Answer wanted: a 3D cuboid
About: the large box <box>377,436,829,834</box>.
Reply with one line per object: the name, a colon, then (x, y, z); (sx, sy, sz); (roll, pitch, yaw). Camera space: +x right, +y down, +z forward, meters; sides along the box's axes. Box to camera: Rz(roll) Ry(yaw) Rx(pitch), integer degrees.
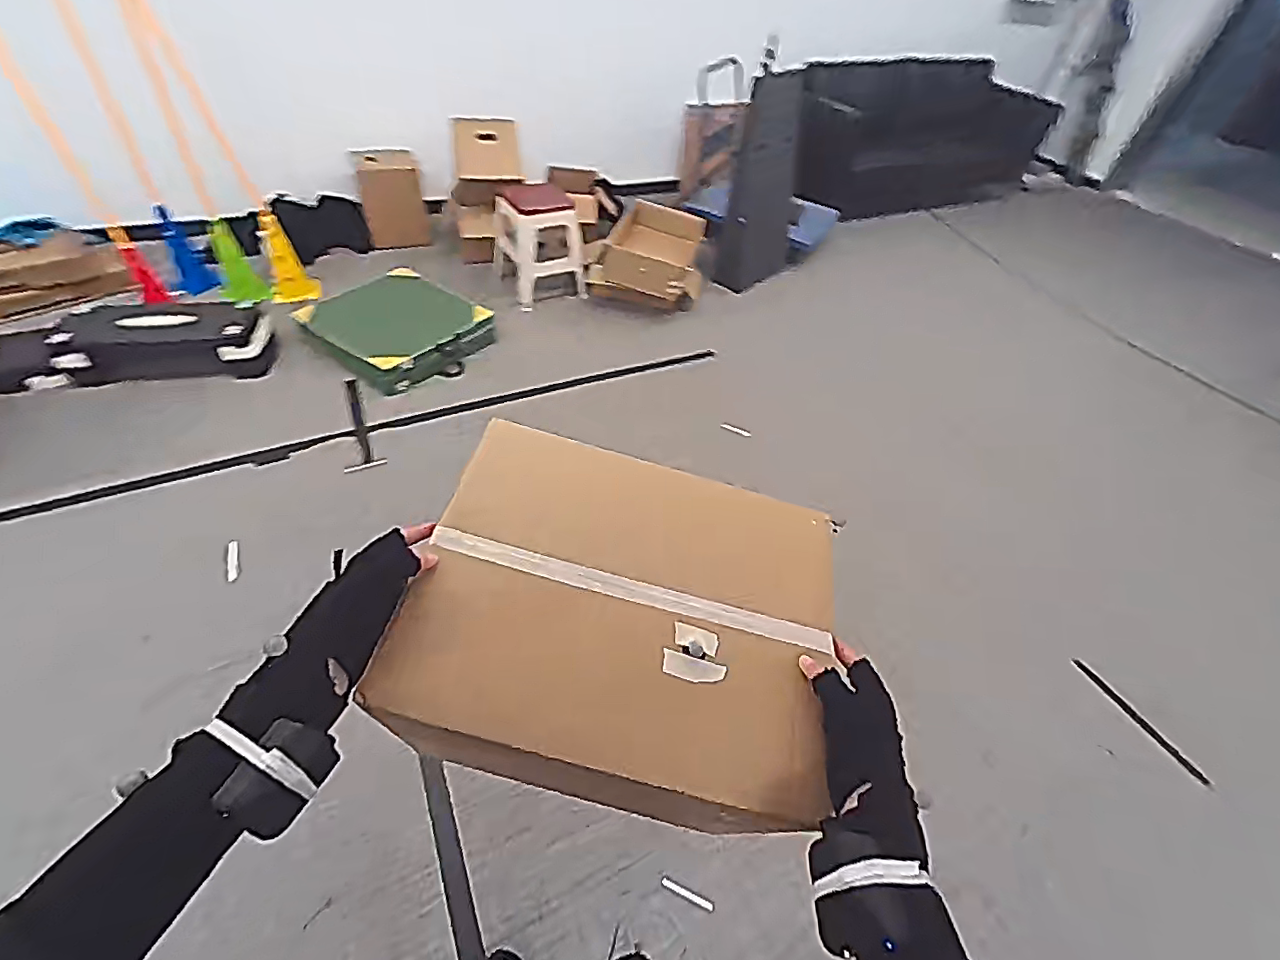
large box: (-0.030, 0.203, 0.663); (0.408, 0.320, 0.320); (18, 55, -1)
